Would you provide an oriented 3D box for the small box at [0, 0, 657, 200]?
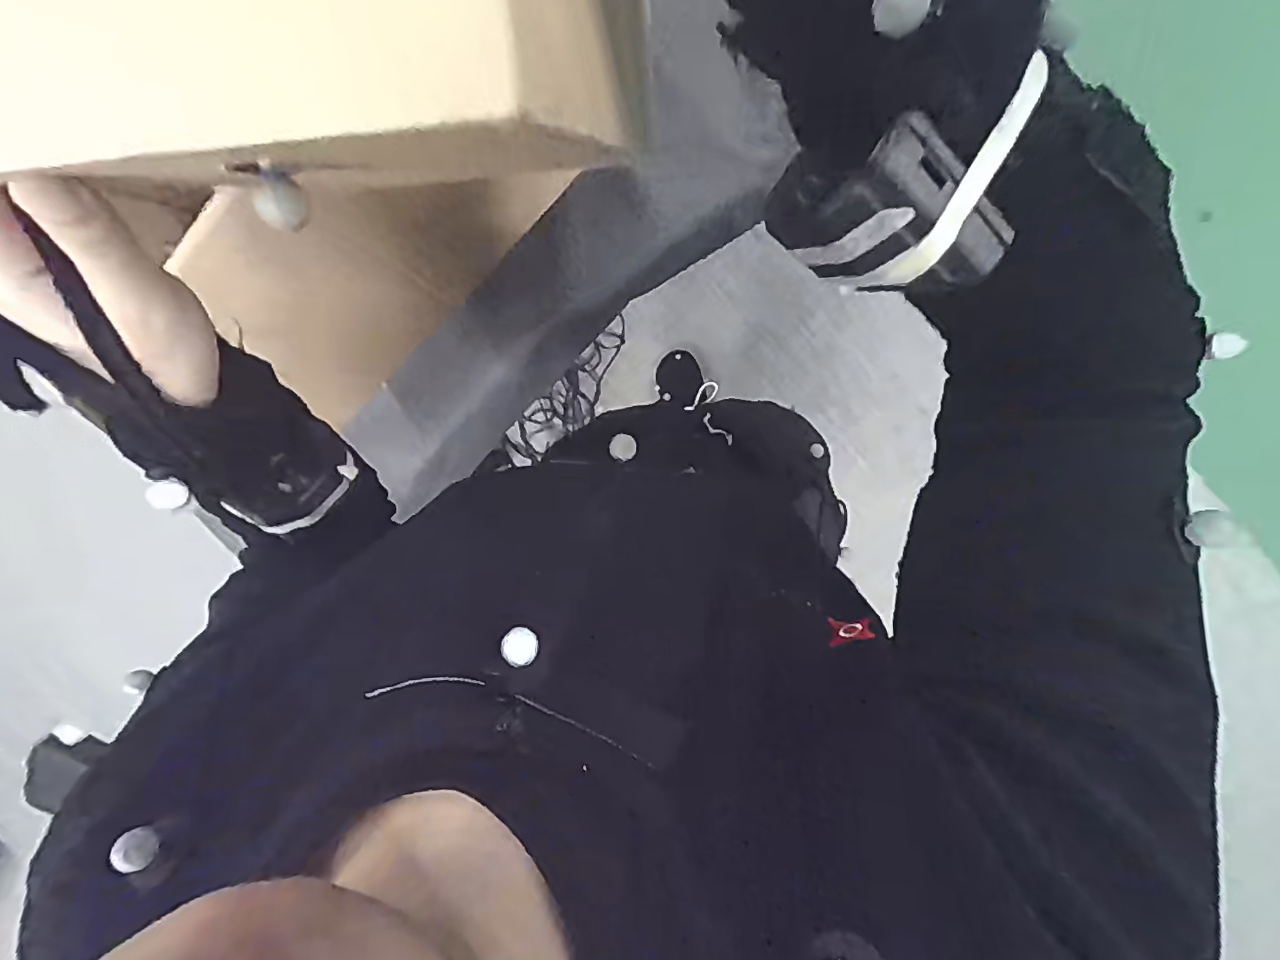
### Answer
[{"bbox_3d":[-0.091,-0.178,0.154,0.179,0.176,0.168,3,118,12],"label":"small box"}]
